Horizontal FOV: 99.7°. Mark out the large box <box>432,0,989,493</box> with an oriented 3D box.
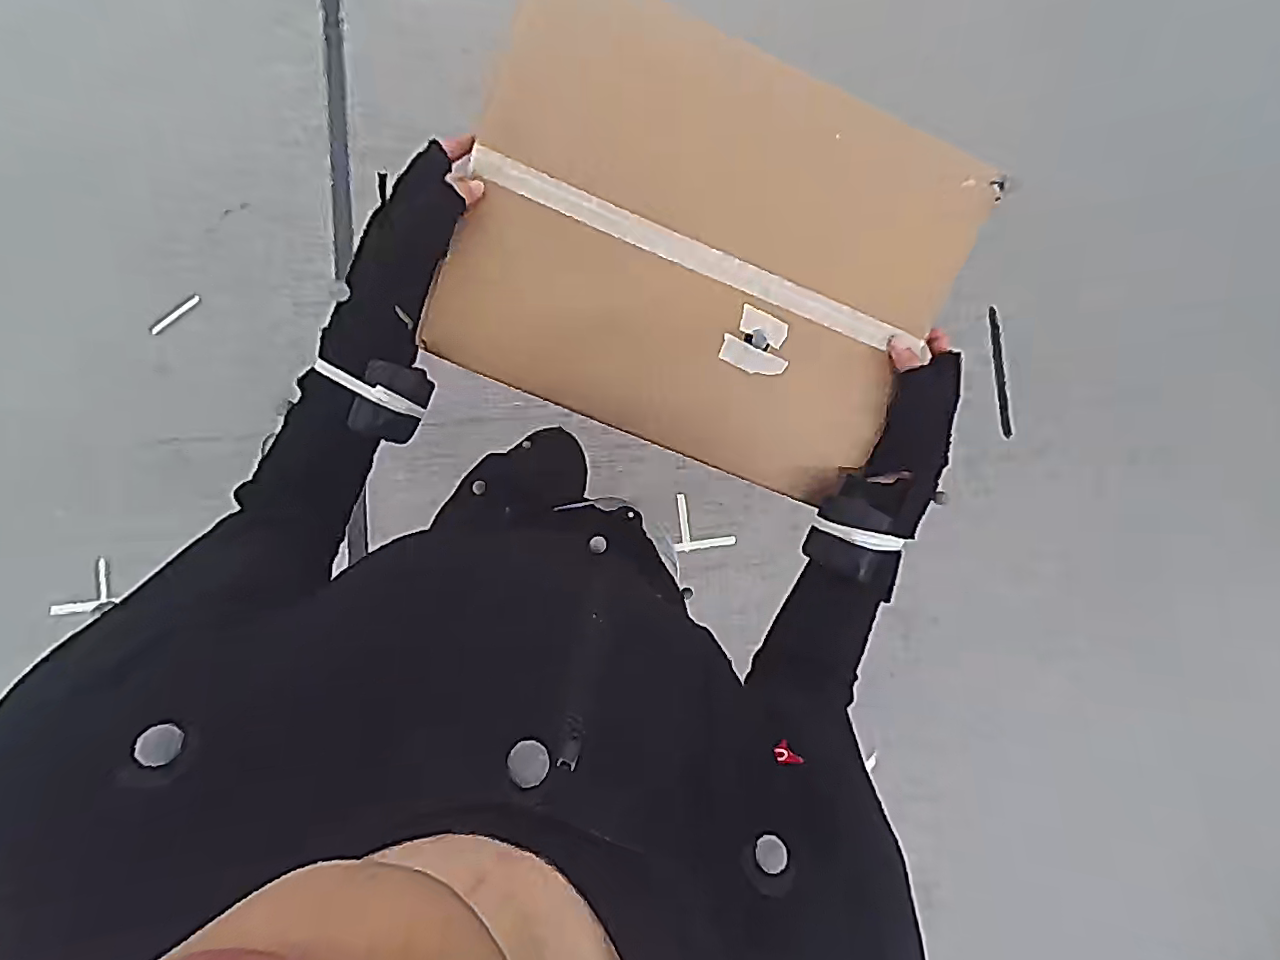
[{"bbox_3d":[0.049,-0.223,0.604,0.408,0.320,0.320,21,101,-7],"label":"large box"}]
